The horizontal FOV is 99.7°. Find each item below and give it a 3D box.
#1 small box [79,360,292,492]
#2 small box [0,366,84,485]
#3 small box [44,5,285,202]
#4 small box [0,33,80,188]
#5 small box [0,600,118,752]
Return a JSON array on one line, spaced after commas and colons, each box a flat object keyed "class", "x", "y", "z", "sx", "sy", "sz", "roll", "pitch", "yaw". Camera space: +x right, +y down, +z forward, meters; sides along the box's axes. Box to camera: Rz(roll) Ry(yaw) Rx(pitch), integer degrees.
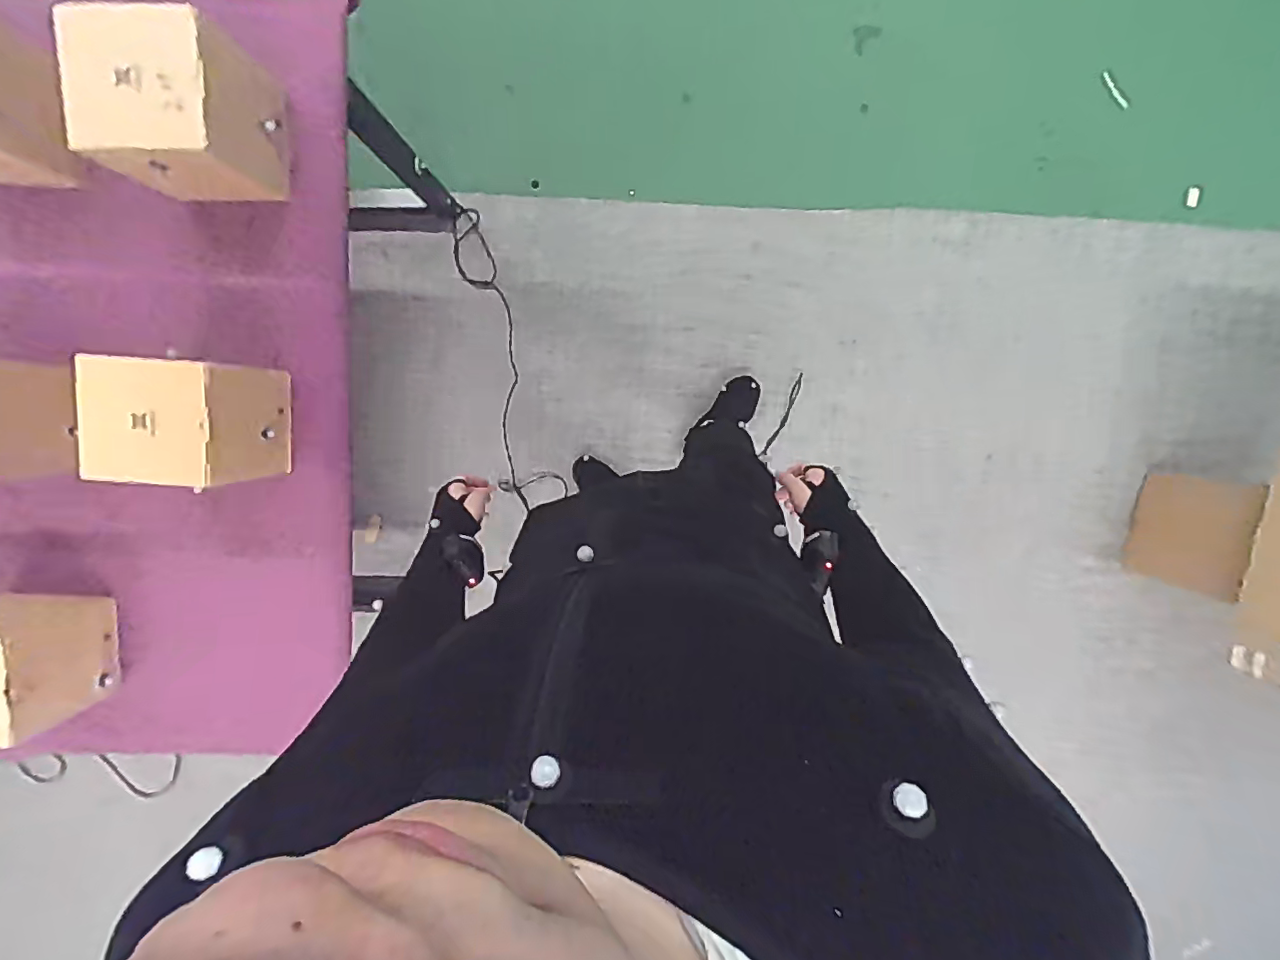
[{"class": "small box", "x": -0.651, "y": -0.079, "z": 0.794, "sx": 0.179, "sy": 0.176, "sz": 0.168, "roll": 3, "pitch": 97, "yaw": -1}, {"class": "small box", "x": -0.959, "y": -0.084, "z": 0.789, "sx": 0.179, "sy": 0.176, "sz": 0.168, "roll": 4, "pitch": 98, "yaw": -3}, {"class": "small box", "x": -0.625, "y": -0.494, "z": 0.734, "sx": 0.179, "sy": 0.176, "sz": 0.168, "roll": 1, "pitch": 99, "yaw": -1}, {"class": "small box", "x": -0.930, "y": -0.515, "z": 0.730, "sx": 0.179, "sy": 0.176, "sz": 0.168, "roll": 3, "pitch": 98, "yaw": -1}, {"class": "small box", "x": -0.961, "y": 0.291, "z": 0.834, "sx": 0.179, "sy": 0.176, "sz": 0.168, "roll": 3, "pitch": 97, "yaw": -2}]
